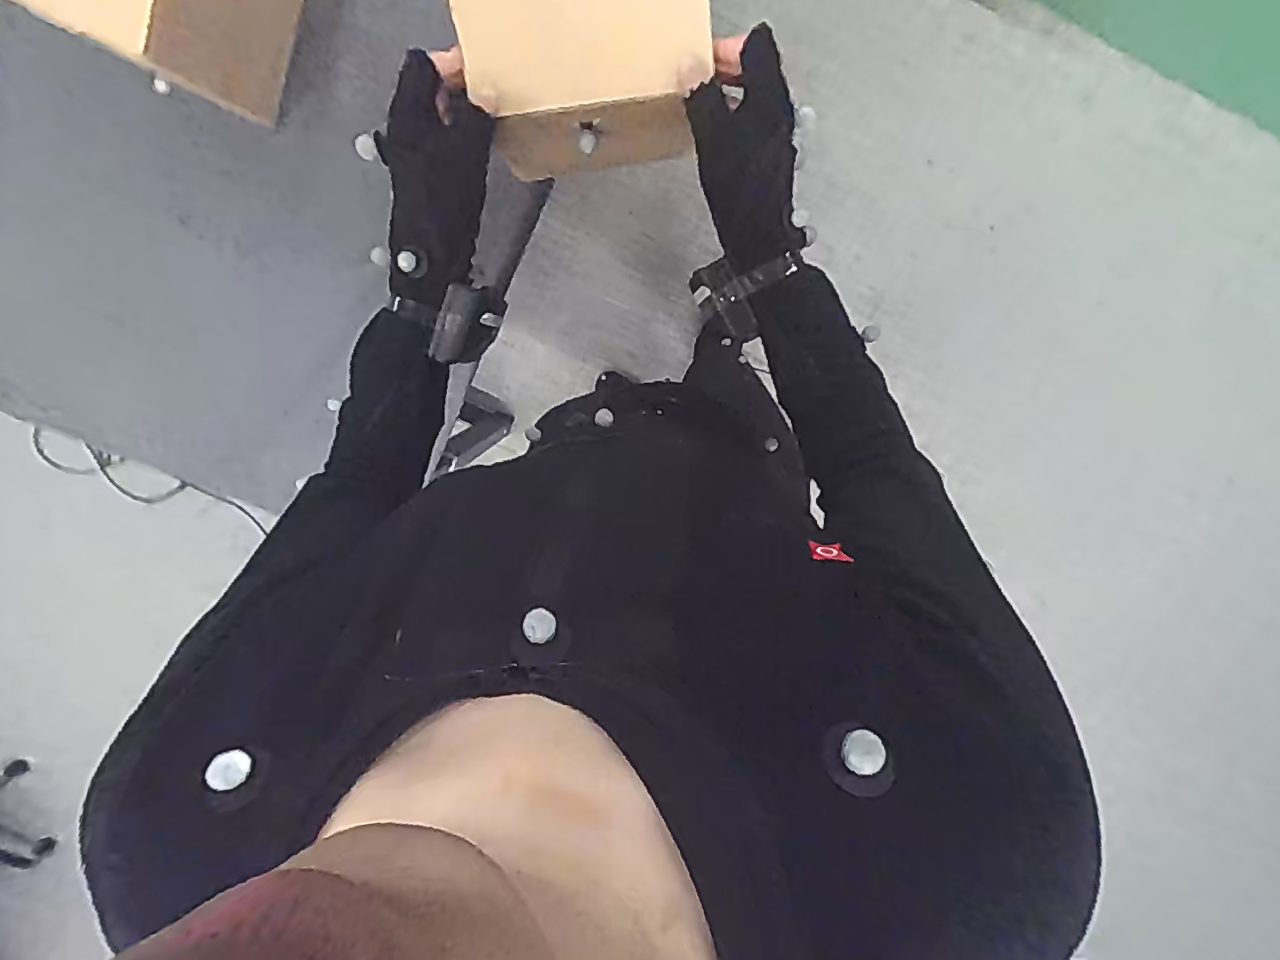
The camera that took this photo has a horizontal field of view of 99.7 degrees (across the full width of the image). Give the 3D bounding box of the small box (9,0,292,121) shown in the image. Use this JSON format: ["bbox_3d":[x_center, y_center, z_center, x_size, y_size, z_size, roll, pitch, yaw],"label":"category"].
[{"bbox_3d":[-0.473,-0.496,0.520,0.168,0.176,0.179,24,106,-4],"label":"small box"}]
